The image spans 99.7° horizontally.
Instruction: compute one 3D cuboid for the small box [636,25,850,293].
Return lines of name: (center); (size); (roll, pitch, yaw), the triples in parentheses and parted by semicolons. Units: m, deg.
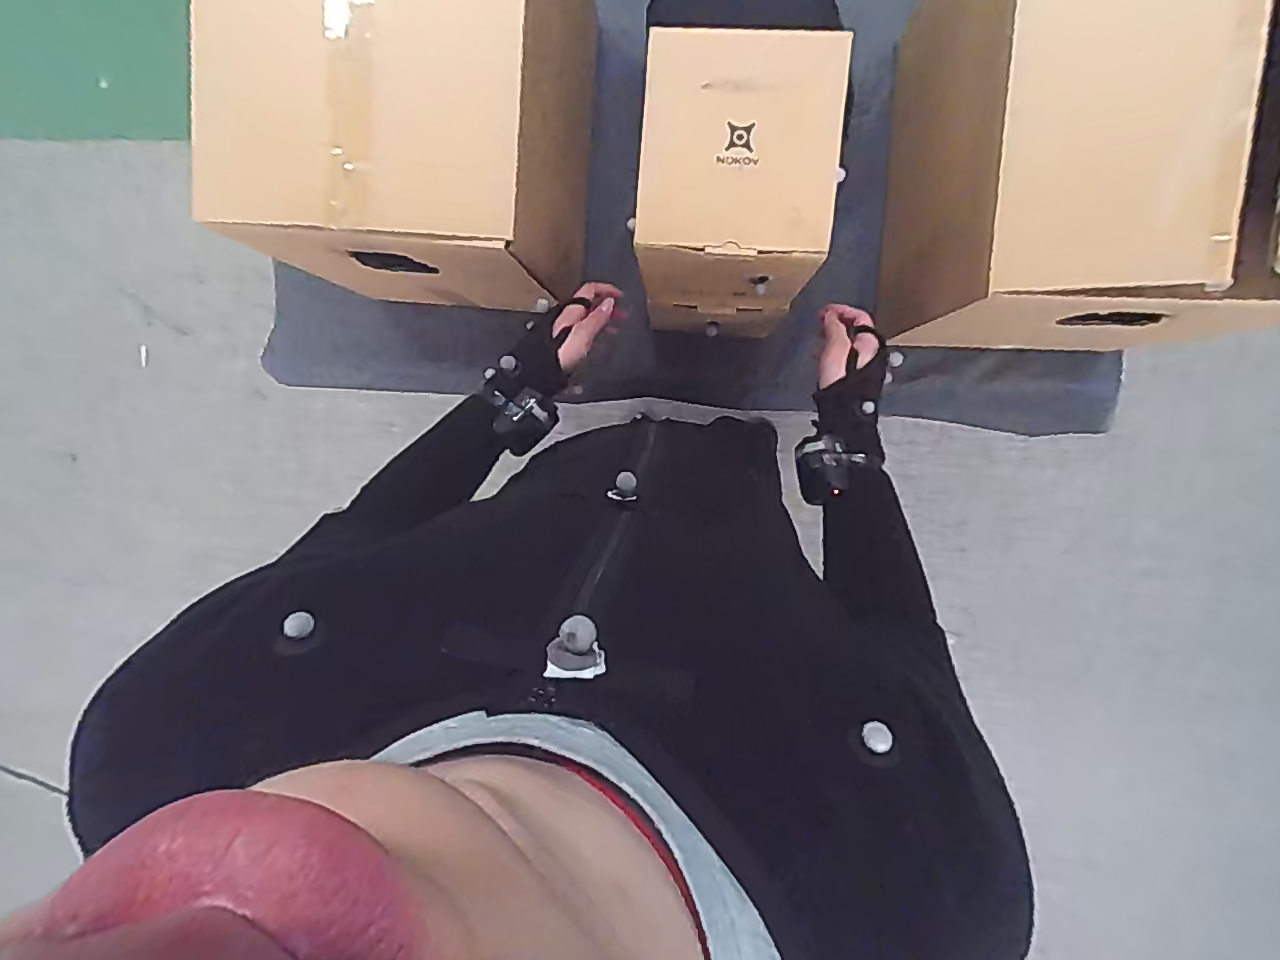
small box: (0.089, -0.292, 0.530); (0.168, 0.176, 0.179); (4, 95, 3)
